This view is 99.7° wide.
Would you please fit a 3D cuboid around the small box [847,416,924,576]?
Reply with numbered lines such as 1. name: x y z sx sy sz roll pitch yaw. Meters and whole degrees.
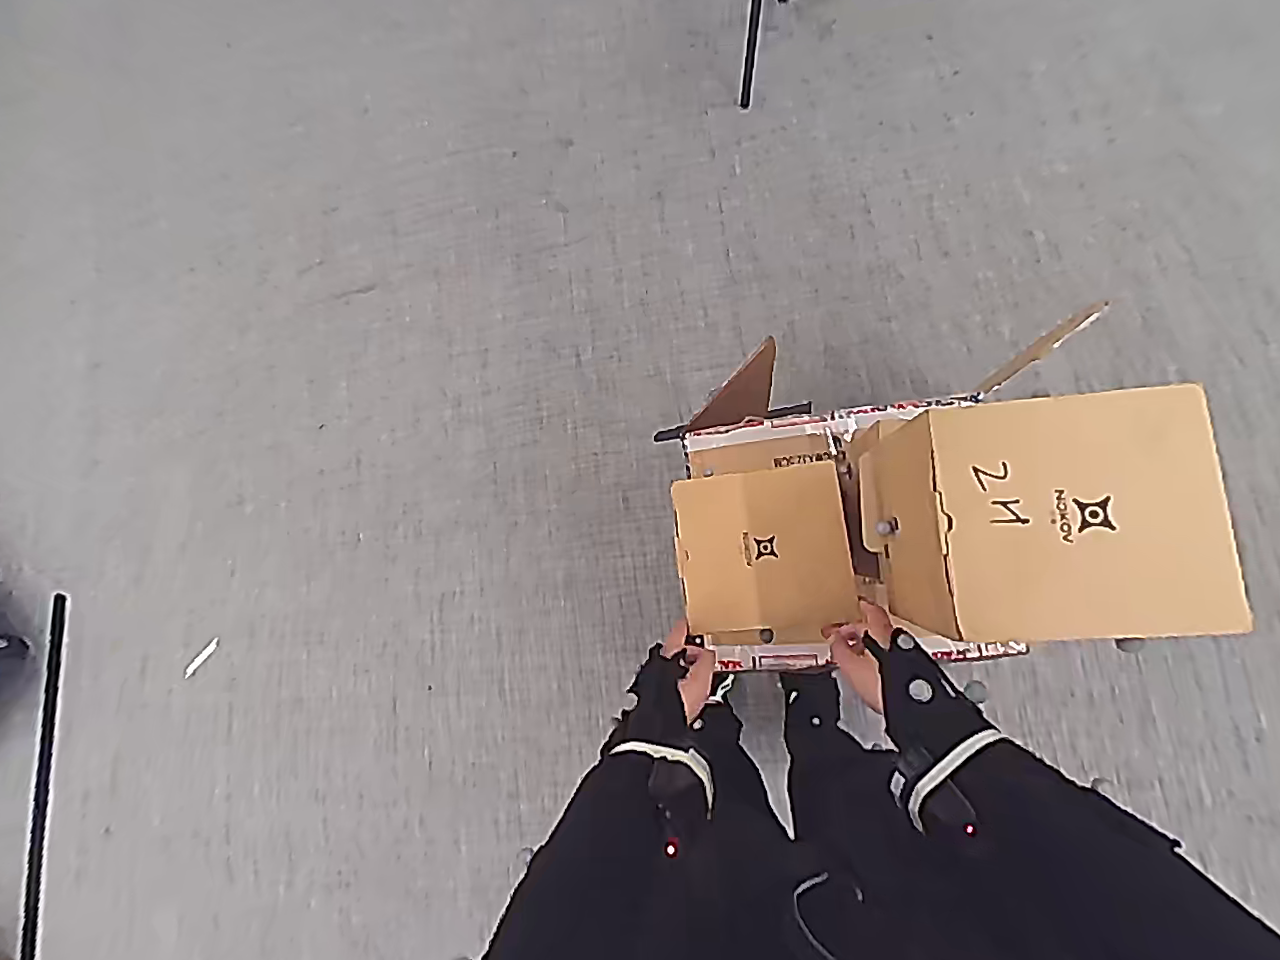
1. small box: 0.336 0.026 0.604 0.179 0.176 0.168 -1 83 10

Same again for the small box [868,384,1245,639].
1. small box: 0.304 0.031 0.440 0.179 0.176 0.168 -5 82 10
